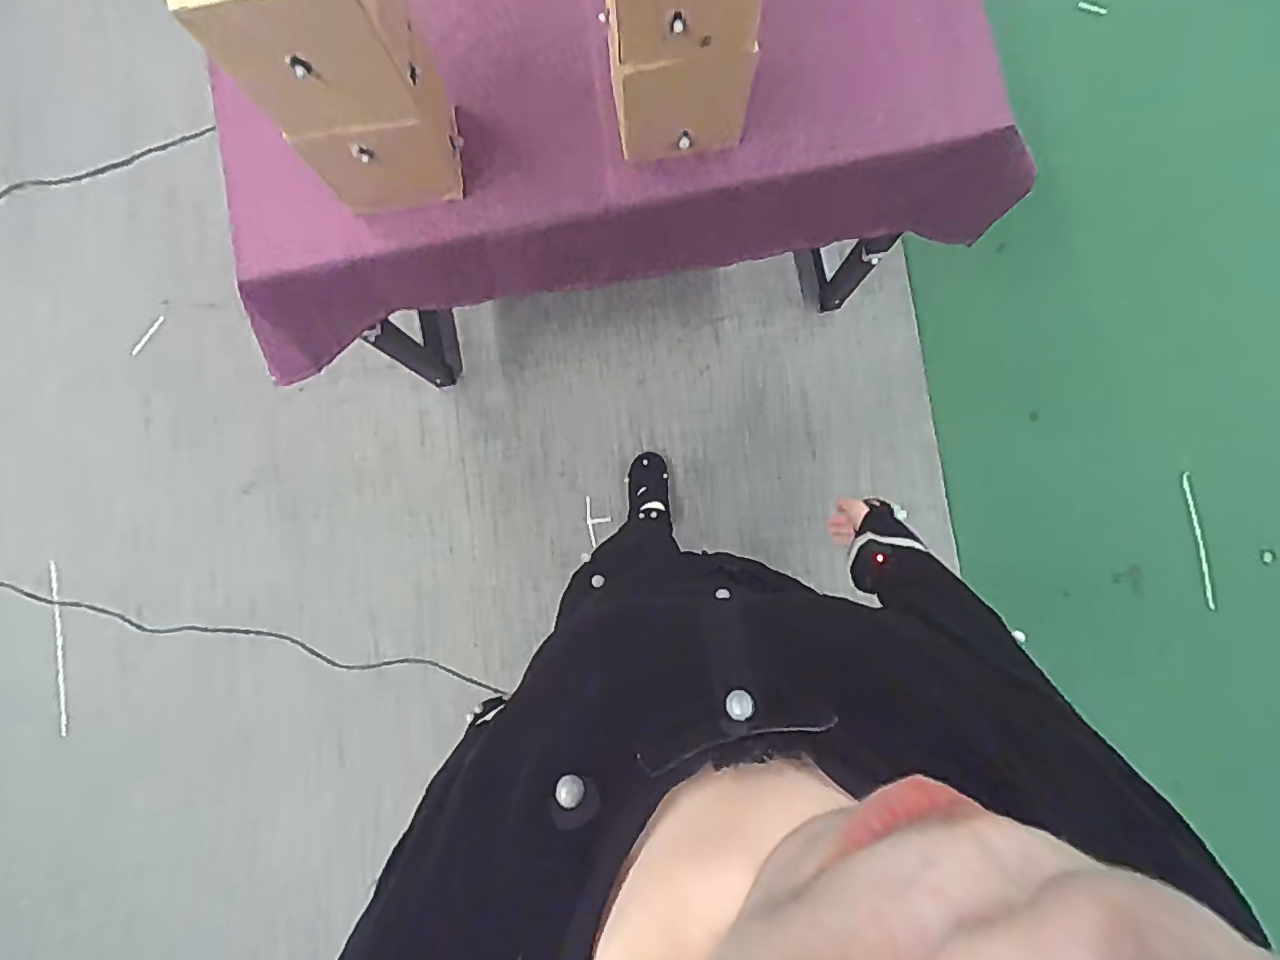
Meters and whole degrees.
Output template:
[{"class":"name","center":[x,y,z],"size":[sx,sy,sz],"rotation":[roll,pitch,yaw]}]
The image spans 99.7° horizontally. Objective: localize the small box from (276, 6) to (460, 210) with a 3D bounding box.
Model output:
[{"class":"small box","center":[-0.371,-0.502,0.753],"size":[0.179,0.176,0.168],"rotation":[-8,86,0]}]

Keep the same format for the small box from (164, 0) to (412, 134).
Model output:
[{"class":"small box","center":[-0.368,-0.519,0.590],"size":[0.179,0.176,0.168],"rotation":[-9,86,2]}]

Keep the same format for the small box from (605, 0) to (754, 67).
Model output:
[{"class":"small box","center":[0.036,-0.609,0.592],"size":[0.168,0.176,0.179],"rotation":[-8,86,0]}]

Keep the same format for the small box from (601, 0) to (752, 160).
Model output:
[{"class":"small box","center":[0.042,-0.585,0.754],"size":[0.179,0.176,0.168],"rotation":[-9,85,0]}]
